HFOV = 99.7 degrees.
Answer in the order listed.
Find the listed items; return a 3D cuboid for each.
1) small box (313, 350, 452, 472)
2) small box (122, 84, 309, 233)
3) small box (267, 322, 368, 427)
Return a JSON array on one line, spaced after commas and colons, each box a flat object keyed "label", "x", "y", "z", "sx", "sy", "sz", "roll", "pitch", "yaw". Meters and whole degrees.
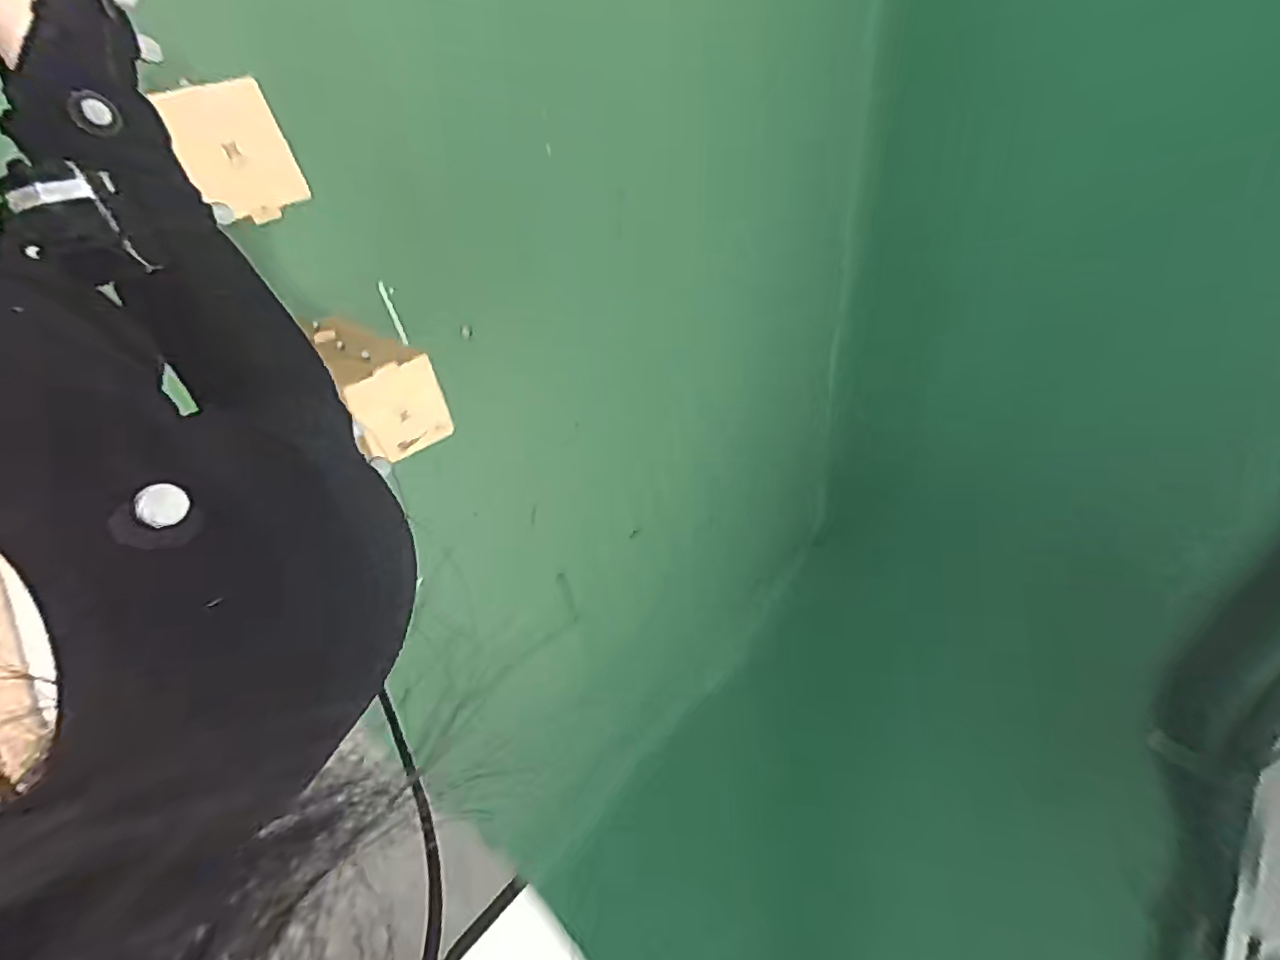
[{"label": "small box", "x": -0.510, "y": -0.147, "z": 1.070, "sx": 0.168, "sy": 0.176, "sz": 0.179, "roll": -34, "pitch": 133, "yaw": -32}, {"label": "small box", "x": -0.698, "y": -0.531, "z": 0.896, "sx": 0.168, "sy": 0.176, "sz": 0.179, "roll": -39, "pitch": 136, "yaw": -29}, {"label": "small box", "x": -0.740, "y": -0.256, "z": 1.279, "sx": 0.168, "sy": 0.176, "sz": 0.179, "roll": -32, "pitch": 132, "yaw": -32}]
